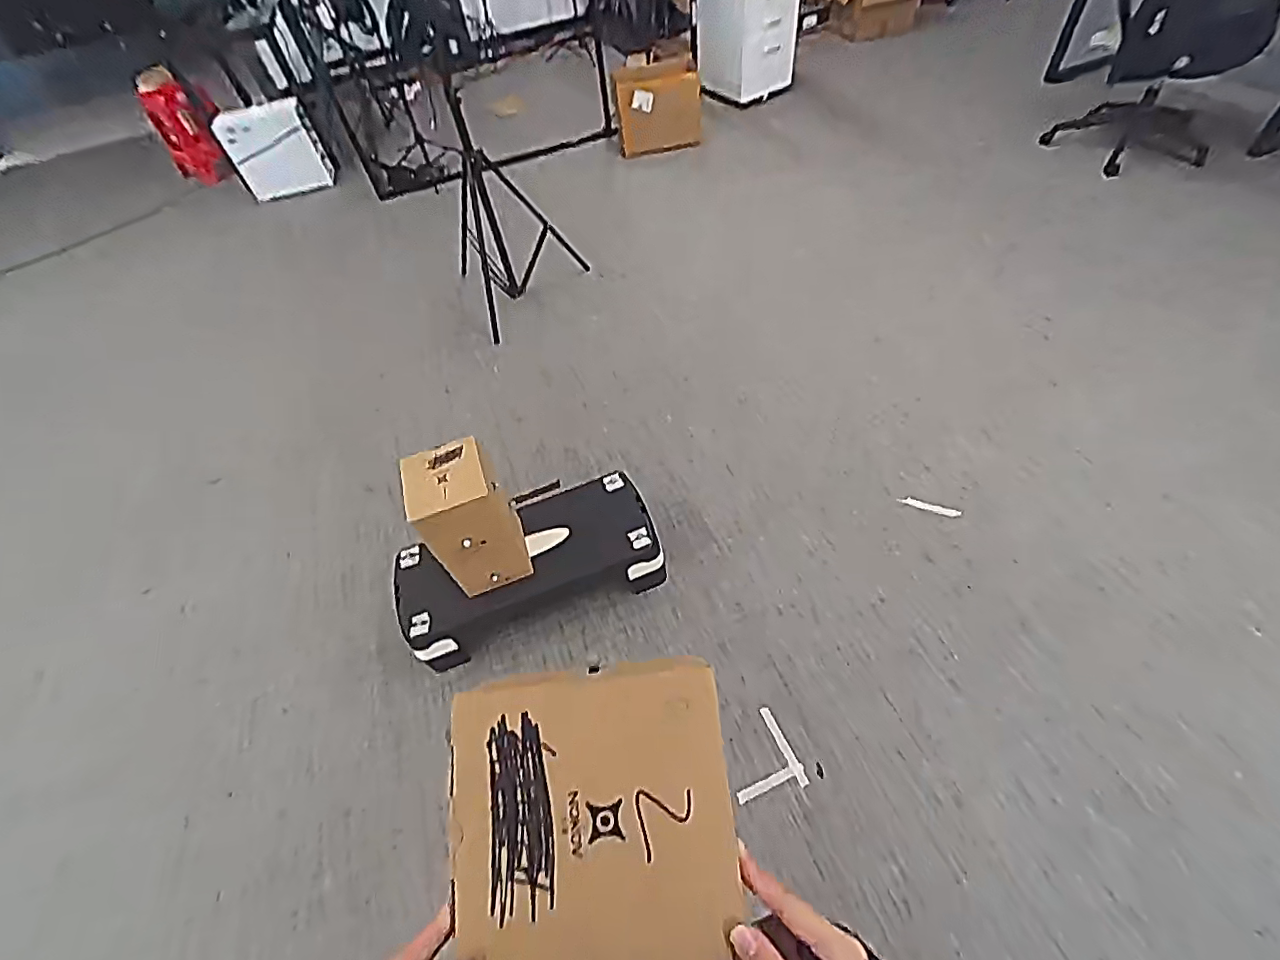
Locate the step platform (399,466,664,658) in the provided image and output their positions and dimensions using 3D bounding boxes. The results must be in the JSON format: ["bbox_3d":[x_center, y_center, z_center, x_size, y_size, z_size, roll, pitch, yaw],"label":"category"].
[{"bbox_3d":[-0.286,0.211,1.463,0.684,0.204,0.286,-21,53,-8],"label":"step platform"}]

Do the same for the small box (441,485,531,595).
[{"bbox_3d":[-0.375,0.147,1.304,0.168,0.176,0.179,-20,53,-7],"label":"small box"}]

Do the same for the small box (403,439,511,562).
[{"bbox_3d":[-0.396,0.046,1.176,0.168,0.176,0.179,-20,53,-7],"label":"small box"}]
